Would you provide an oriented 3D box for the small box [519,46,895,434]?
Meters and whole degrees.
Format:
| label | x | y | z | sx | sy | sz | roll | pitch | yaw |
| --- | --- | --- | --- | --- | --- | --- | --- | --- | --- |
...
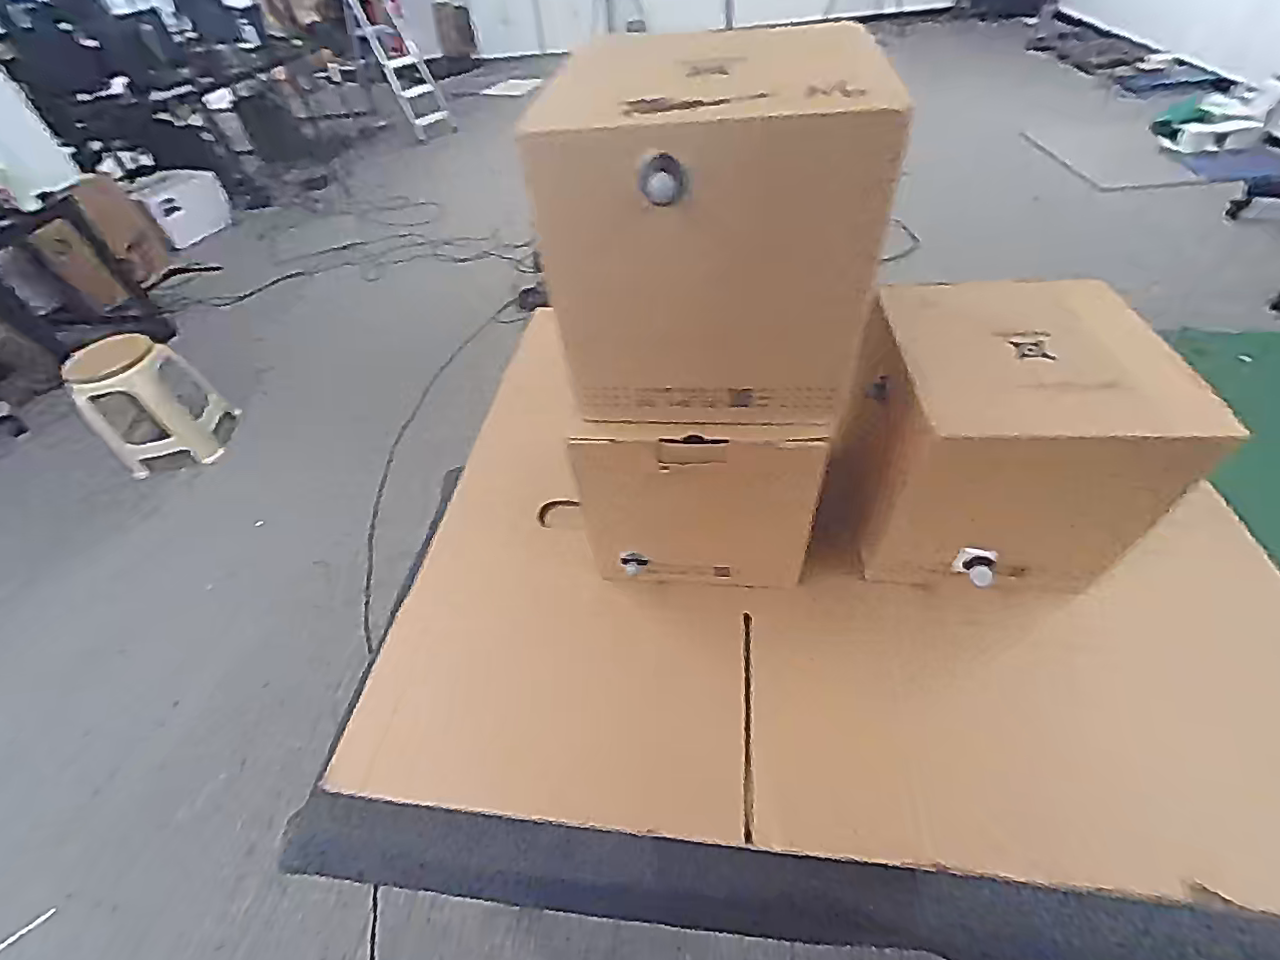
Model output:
| label | x | y | z | sx | sy | sz | roll | pitch | yaw |
| --- | --- | --- | --- | --- | --- | --- | --- | --- | --- |
| small box | 0.042 | -0.151 | 0.345 | 0.168 | 0.176 | 0.179 | 2 | 48 | 9 |
